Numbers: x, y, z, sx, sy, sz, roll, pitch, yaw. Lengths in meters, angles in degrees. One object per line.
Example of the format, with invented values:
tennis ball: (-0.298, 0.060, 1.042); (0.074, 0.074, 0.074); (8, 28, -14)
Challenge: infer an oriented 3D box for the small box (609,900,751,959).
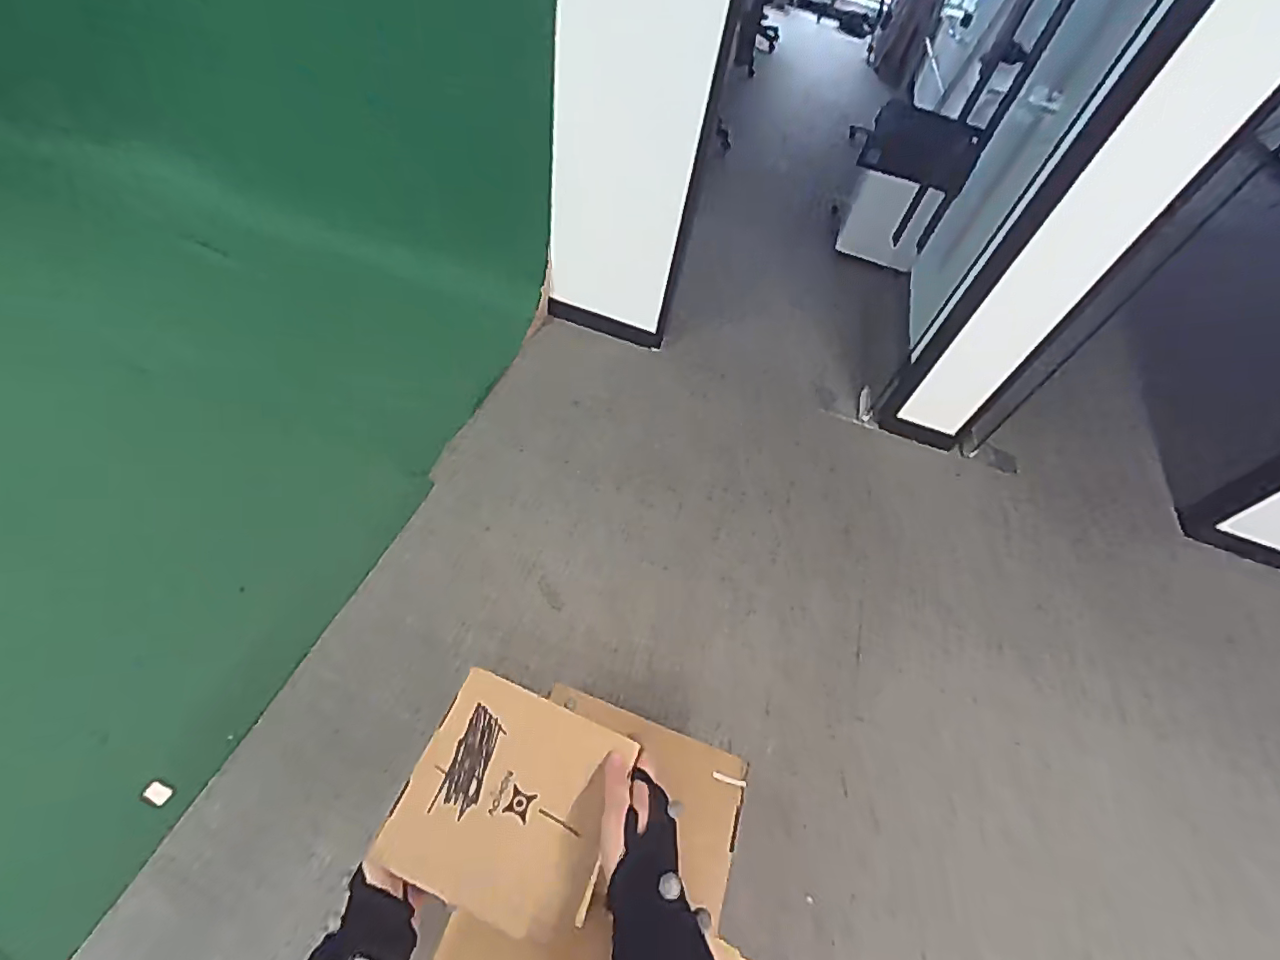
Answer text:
small box: (0.036, 0.620, 0.615); (0.168, 0.176, 0.179); (27, 52, 10)

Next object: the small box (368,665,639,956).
small box: (-0.118, 0.308, 0.531); (0.179, 0.176, 0.168); (23, 62, 6)
